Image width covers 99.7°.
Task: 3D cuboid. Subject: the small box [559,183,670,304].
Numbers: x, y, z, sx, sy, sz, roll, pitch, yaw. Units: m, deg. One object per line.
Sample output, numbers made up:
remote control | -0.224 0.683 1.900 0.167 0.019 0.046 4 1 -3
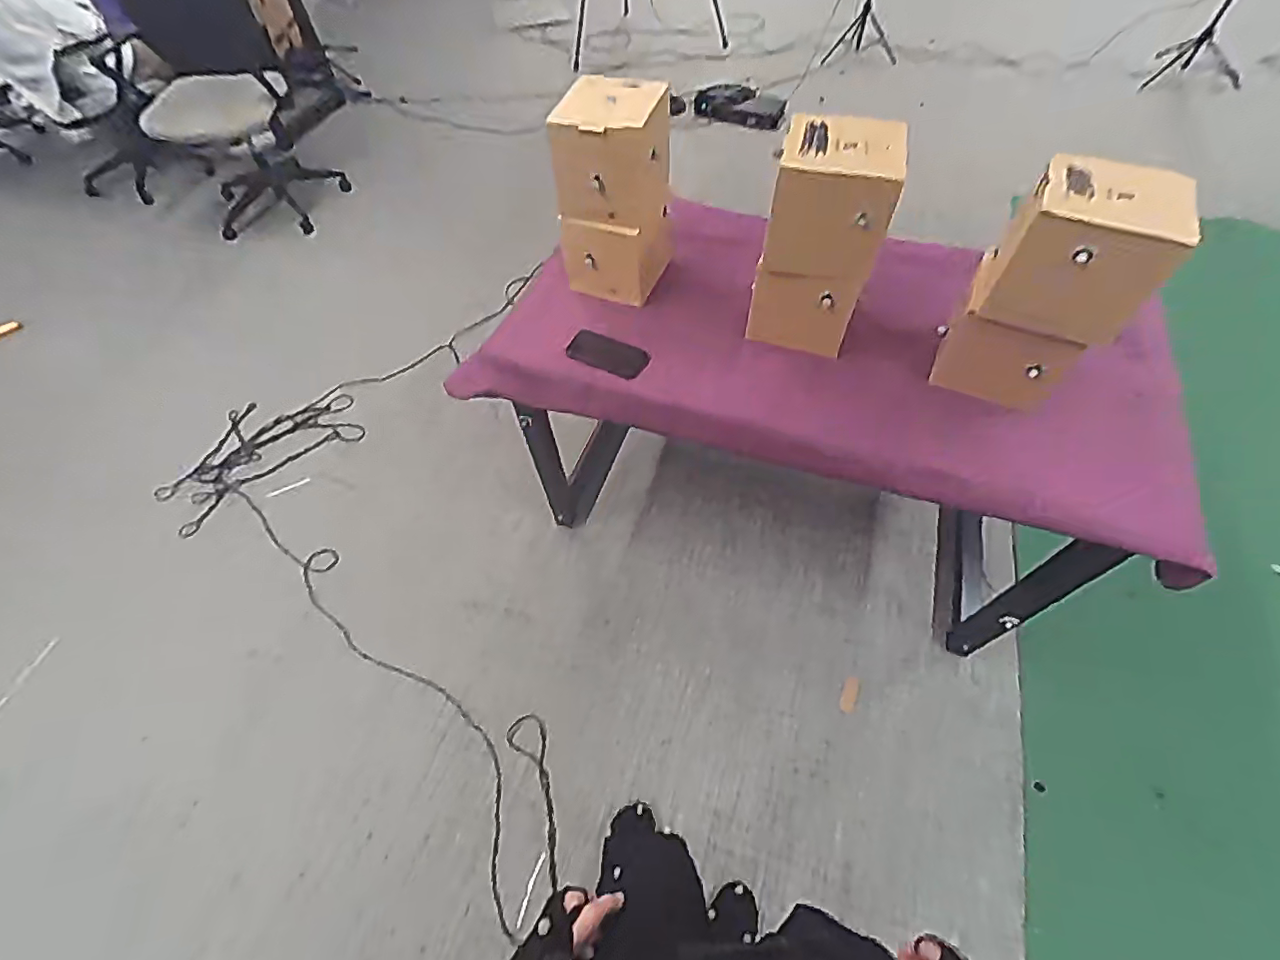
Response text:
small box | -0.040 -0.487 1.099 0.168 0.176 0.179 17 59 15

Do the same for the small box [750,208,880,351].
small box | 0.314 -0.362 0.991 0.179 0.176 0.168 17 59 14

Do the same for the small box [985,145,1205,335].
small box | 0.618 -0.331 0.755 0.179 0.176 0.168 22 61 17

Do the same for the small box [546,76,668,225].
small box | -0.047 -0.584 0.966 0.168 0.176 0.179 13 59 11

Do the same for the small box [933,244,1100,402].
small box | 0.625 -0.255 0.901 0.179 0.176 0.168 22 61 18
